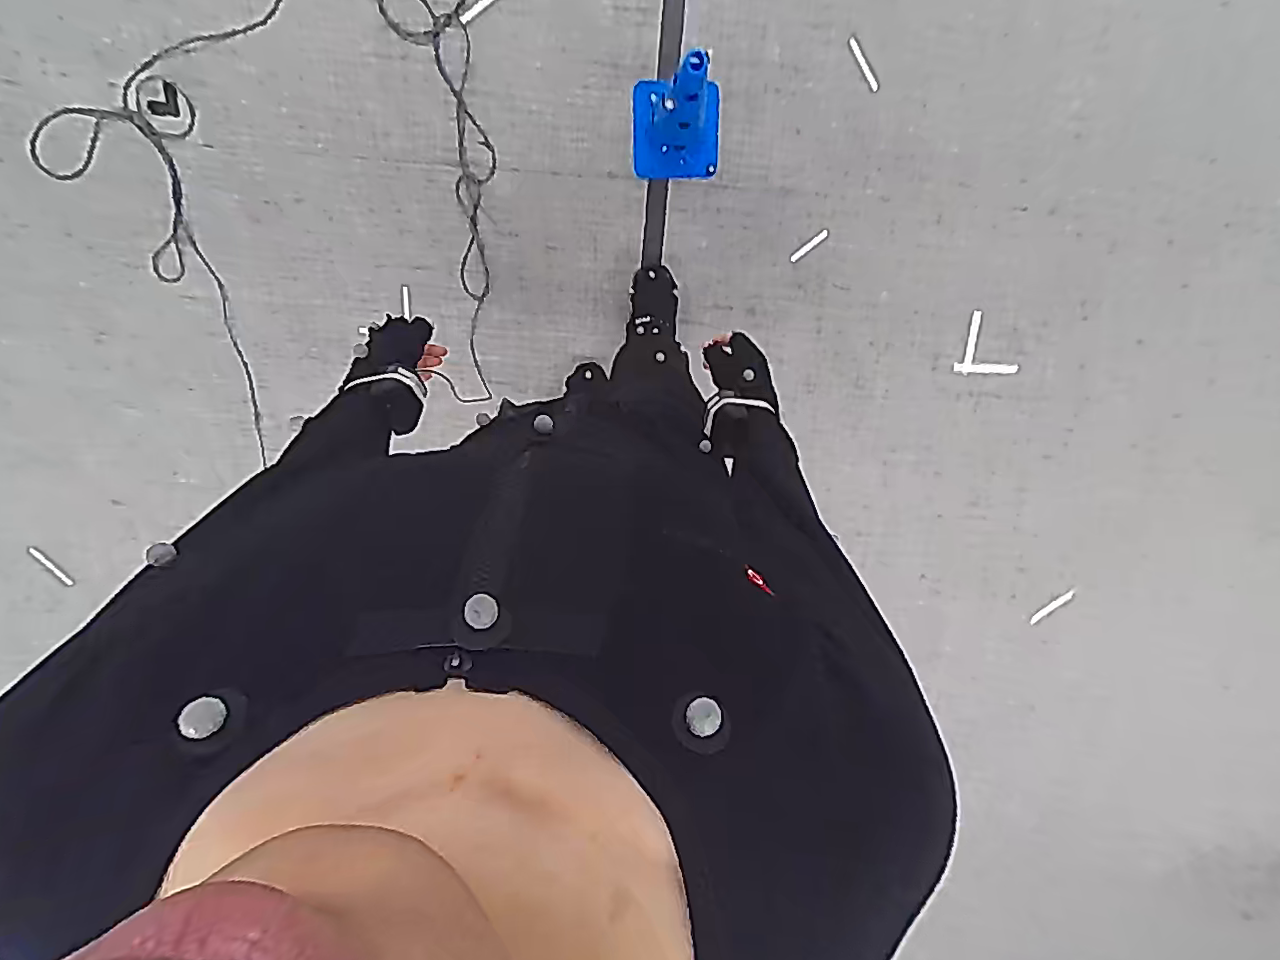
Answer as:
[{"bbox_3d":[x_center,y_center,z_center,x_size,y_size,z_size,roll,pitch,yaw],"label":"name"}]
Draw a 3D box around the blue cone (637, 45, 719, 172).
[{"bbox_3d":[0.096,-0.776,1.098,0.192,0.380,0.193,0,107,-3],"label":"blue cone"}]
